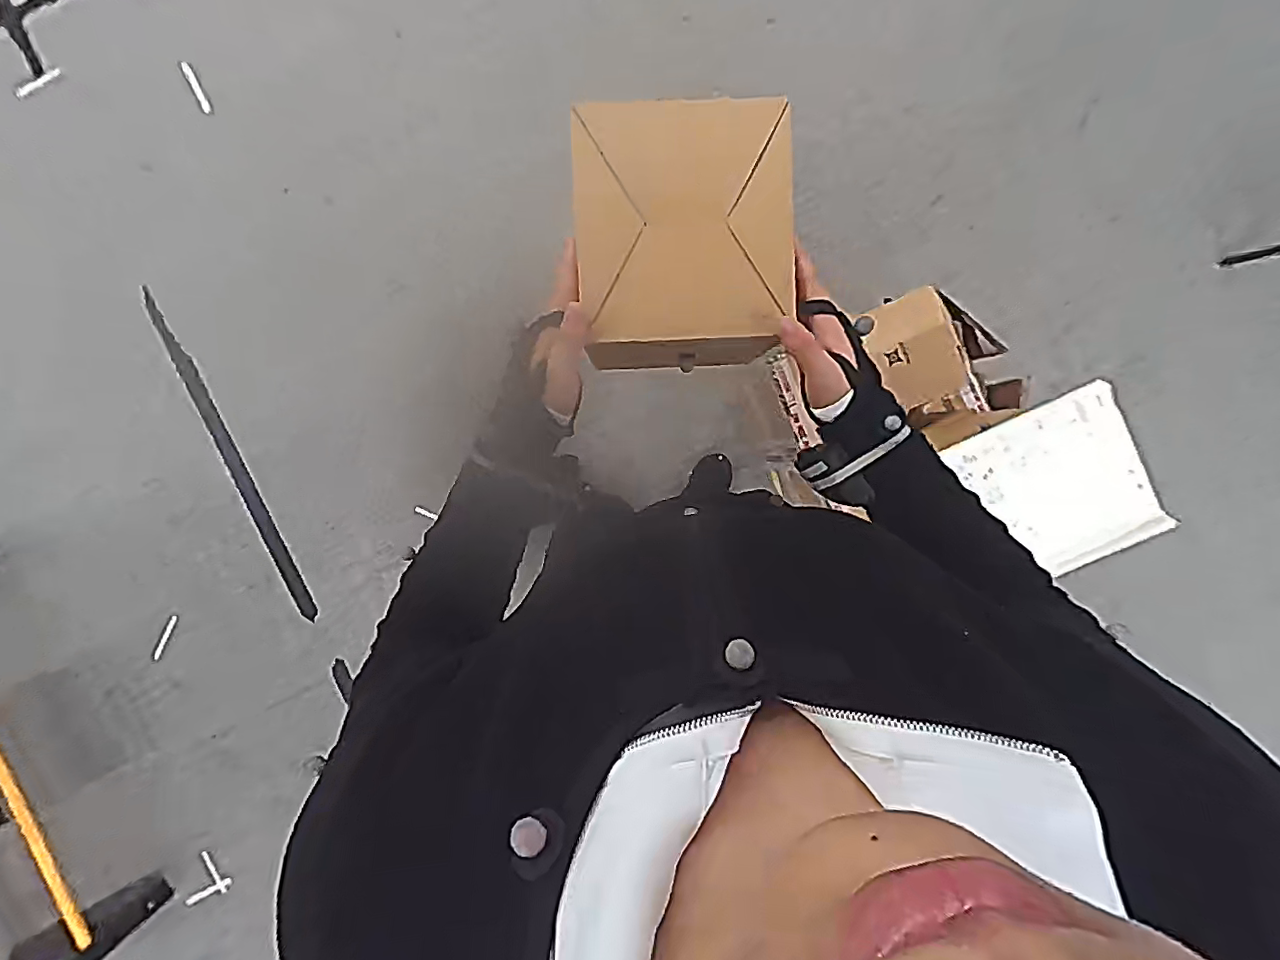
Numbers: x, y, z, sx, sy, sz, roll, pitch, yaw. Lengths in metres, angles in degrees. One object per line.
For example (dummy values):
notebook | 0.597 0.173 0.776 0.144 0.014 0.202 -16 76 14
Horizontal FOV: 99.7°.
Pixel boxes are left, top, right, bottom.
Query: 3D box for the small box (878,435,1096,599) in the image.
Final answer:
small box | 0.478 0.041 0.772 0.179 0.176 0.168 -24 93 4
